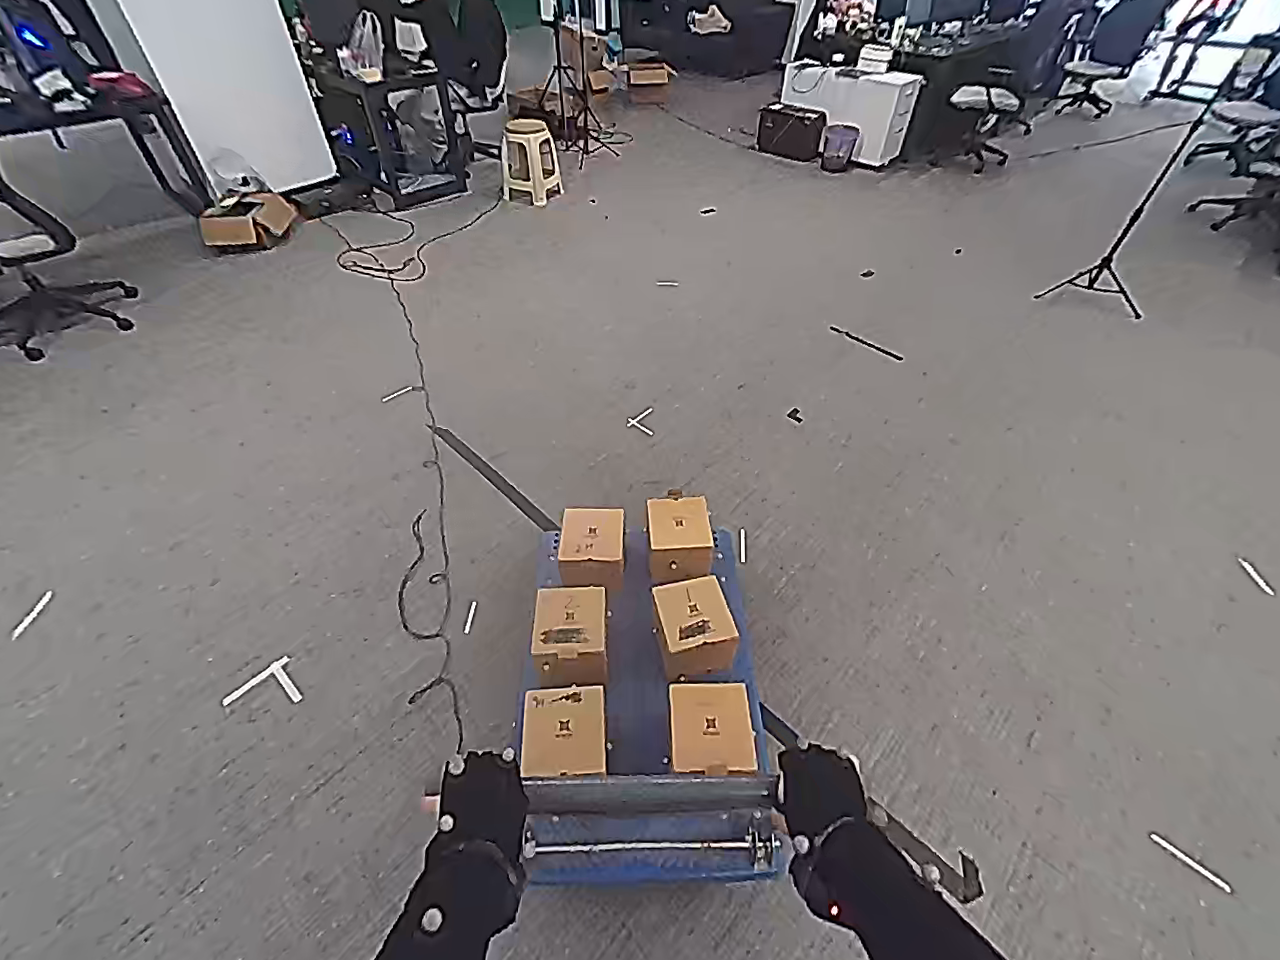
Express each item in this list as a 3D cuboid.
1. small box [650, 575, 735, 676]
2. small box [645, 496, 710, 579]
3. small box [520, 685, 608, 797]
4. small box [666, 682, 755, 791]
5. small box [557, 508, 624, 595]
[{"bbox_3d":[0.124,0.365,1.336,0.168,0.176,0.179,-10,47,-9],"label":"small box"},{"bbox_3d":[0.101,0.169,1.524,0.168,0.176,0.179,-3,46,-3],"label":"small box"},{"bbox_3d":[-0.155,0.558,1.149,0.168,0.176,0.179,-3,47,-4],"label":"small box"},{"bbox_3d":[0.143,0.553,1.160,0.168,0.176,0.179,0,46,-1],"label":"small box"},{"bbox_3d":[-0.130,0.197,1.493,0.168,0.176,0.179,0,47,0],"label":"small box"}]
